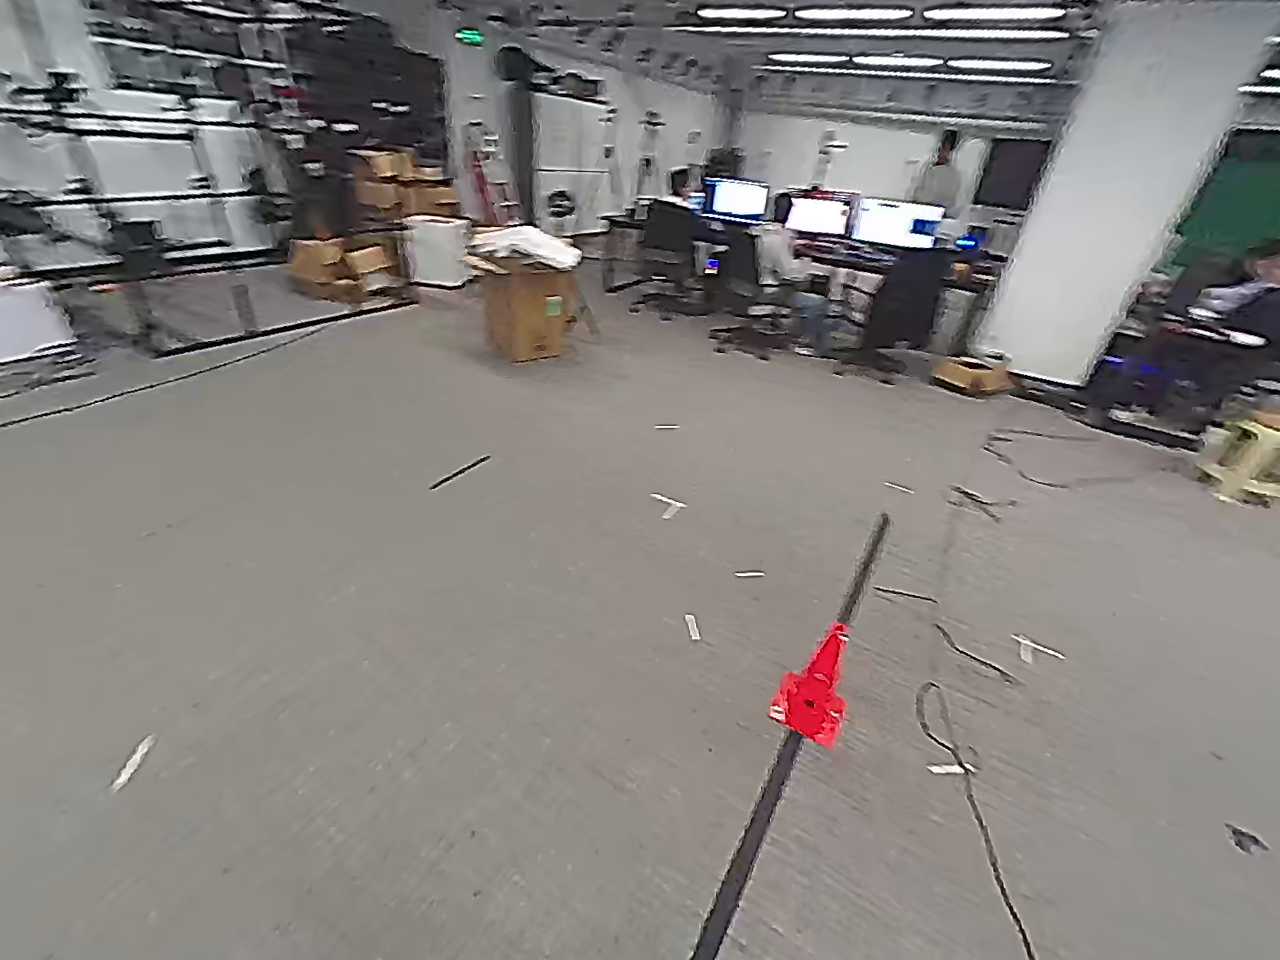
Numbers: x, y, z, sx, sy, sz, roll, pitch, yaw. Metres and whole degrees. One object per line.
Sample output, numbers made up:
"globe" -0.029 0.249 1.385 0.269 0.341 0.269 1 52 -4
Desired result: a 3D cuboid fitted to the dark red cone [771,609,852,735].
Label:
"dark red cone" 0.539 0.534 1.582 0.201 0.394 0.202 23 35 22
